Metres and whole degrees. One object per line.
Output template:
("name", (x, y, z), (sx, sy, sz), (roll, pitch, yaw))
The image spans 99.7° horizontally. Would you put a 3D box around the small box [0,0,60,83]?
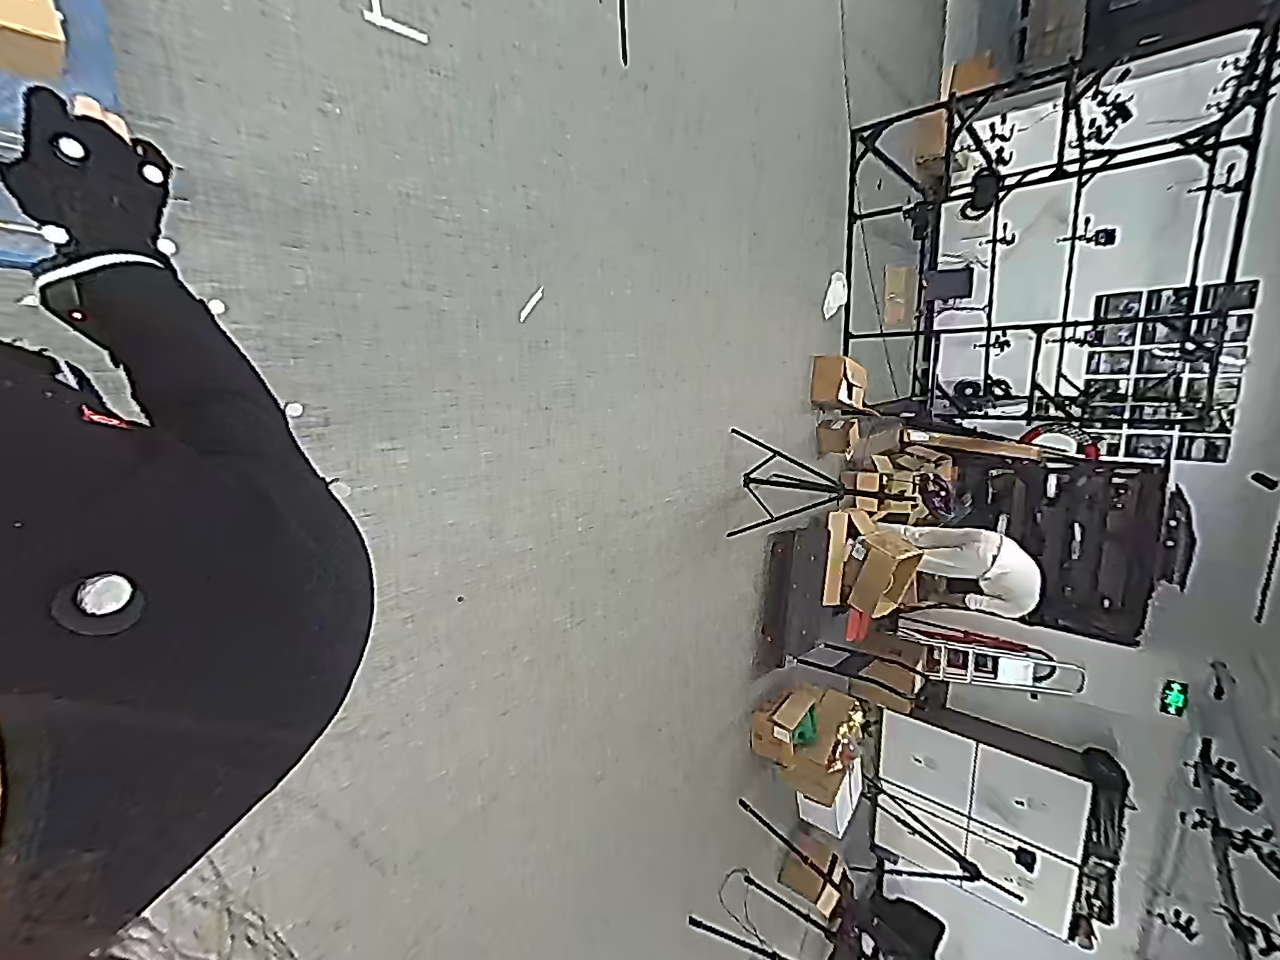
("small box", (-0.960, -0.697, 0.756), (0.179, 0.176, 0.168), (-18, 110, -47))
